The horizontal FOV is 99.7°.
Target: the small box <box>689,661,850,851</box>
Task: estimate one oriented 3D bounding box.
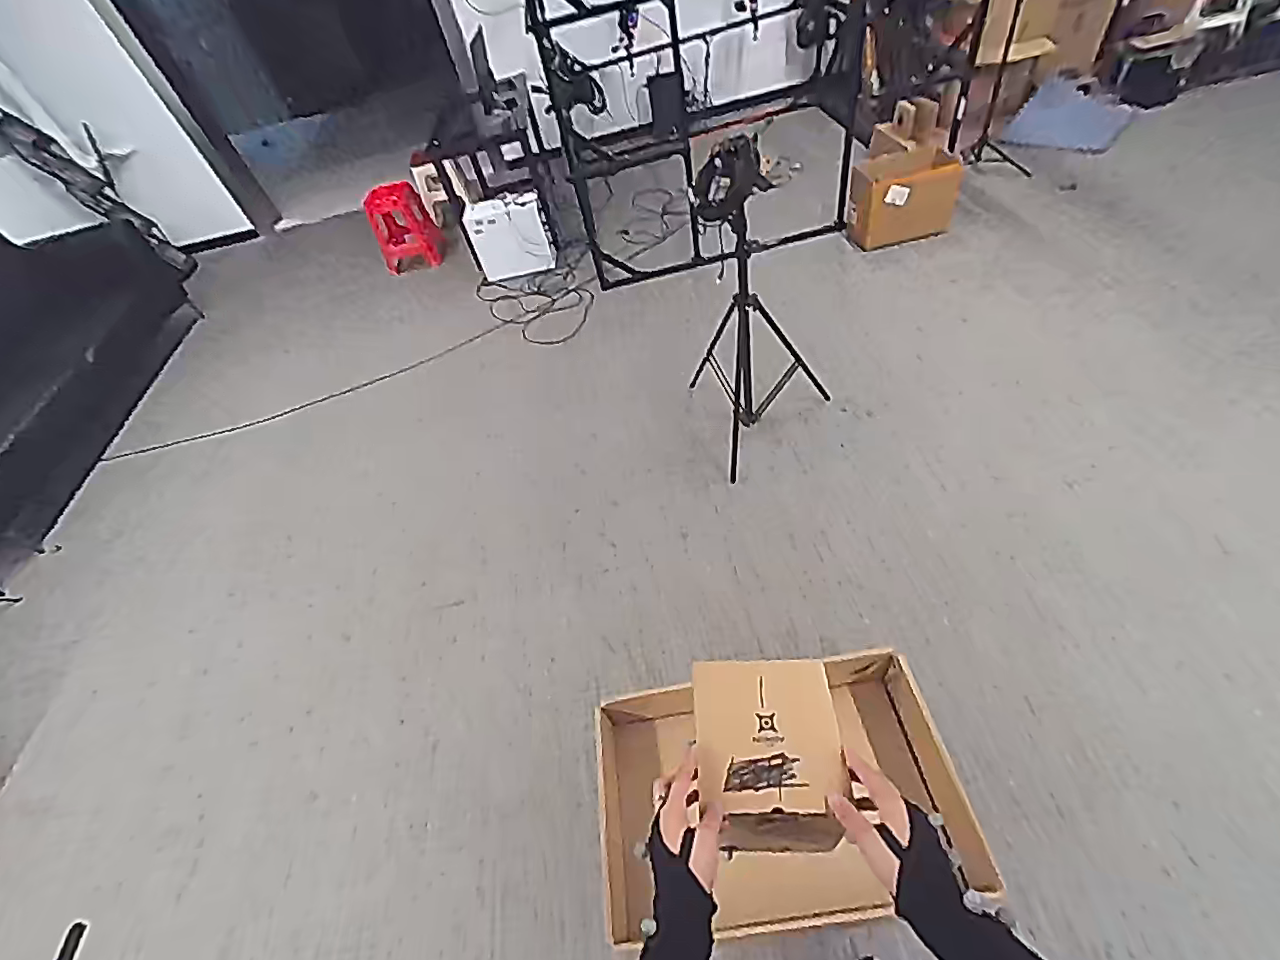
[{"bbox_3d":[0.149,0.349,0.681,0.168,0.176,0.179,-2,44,4],"label":"small box"}]
